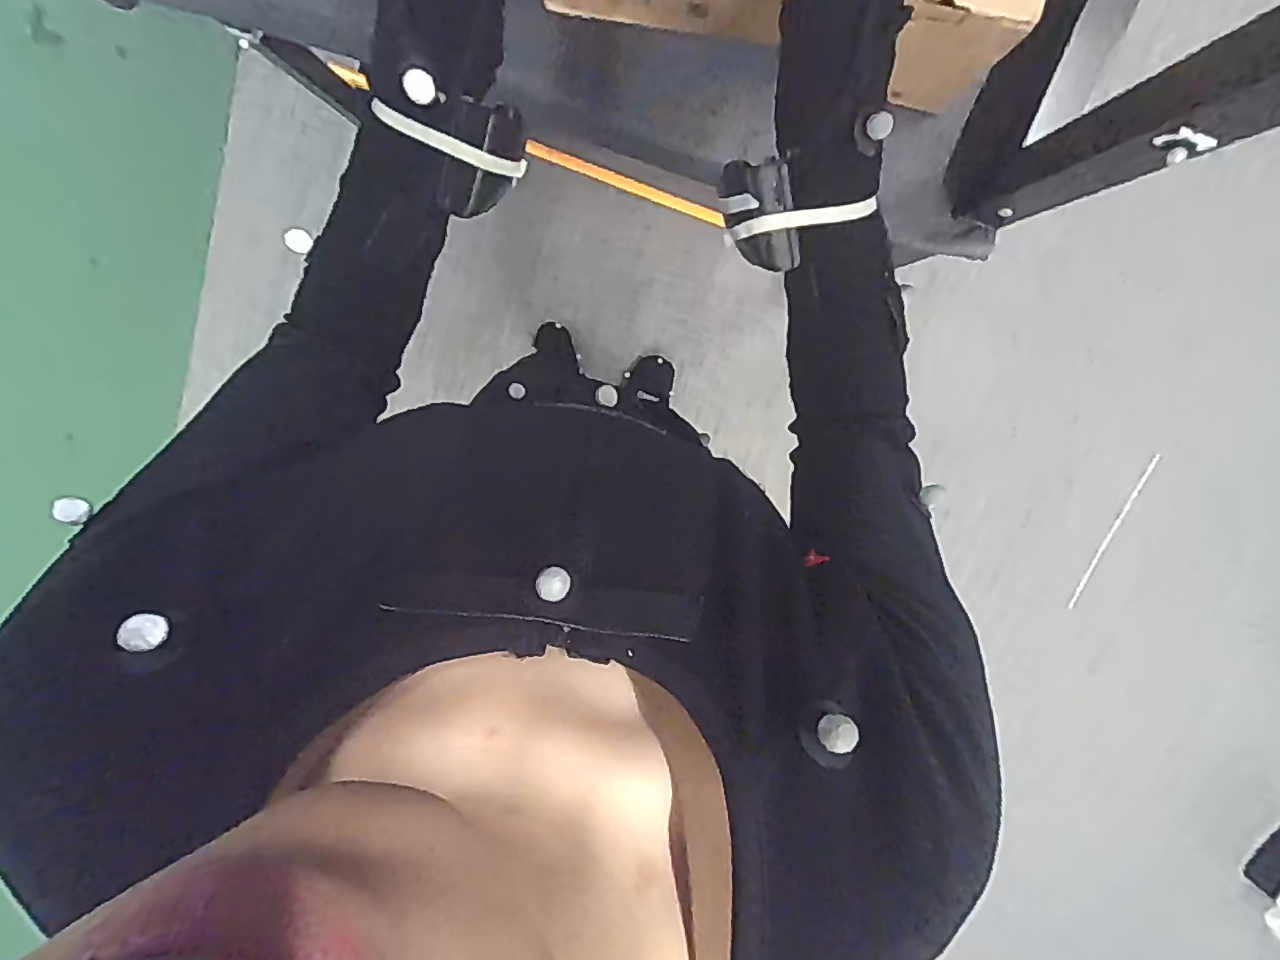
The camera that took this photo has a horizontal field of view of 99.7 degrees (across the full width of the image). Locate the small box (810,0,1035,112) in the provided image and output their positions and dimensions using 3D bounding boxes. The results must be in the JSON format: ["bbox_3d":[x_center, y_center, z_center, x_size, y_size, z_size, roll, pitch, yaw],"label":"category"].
[{"bbox_3d":[0.288,-0.514,0.545,0.168,0.176,0.179,14,101,-1],"label":"small box"}]
